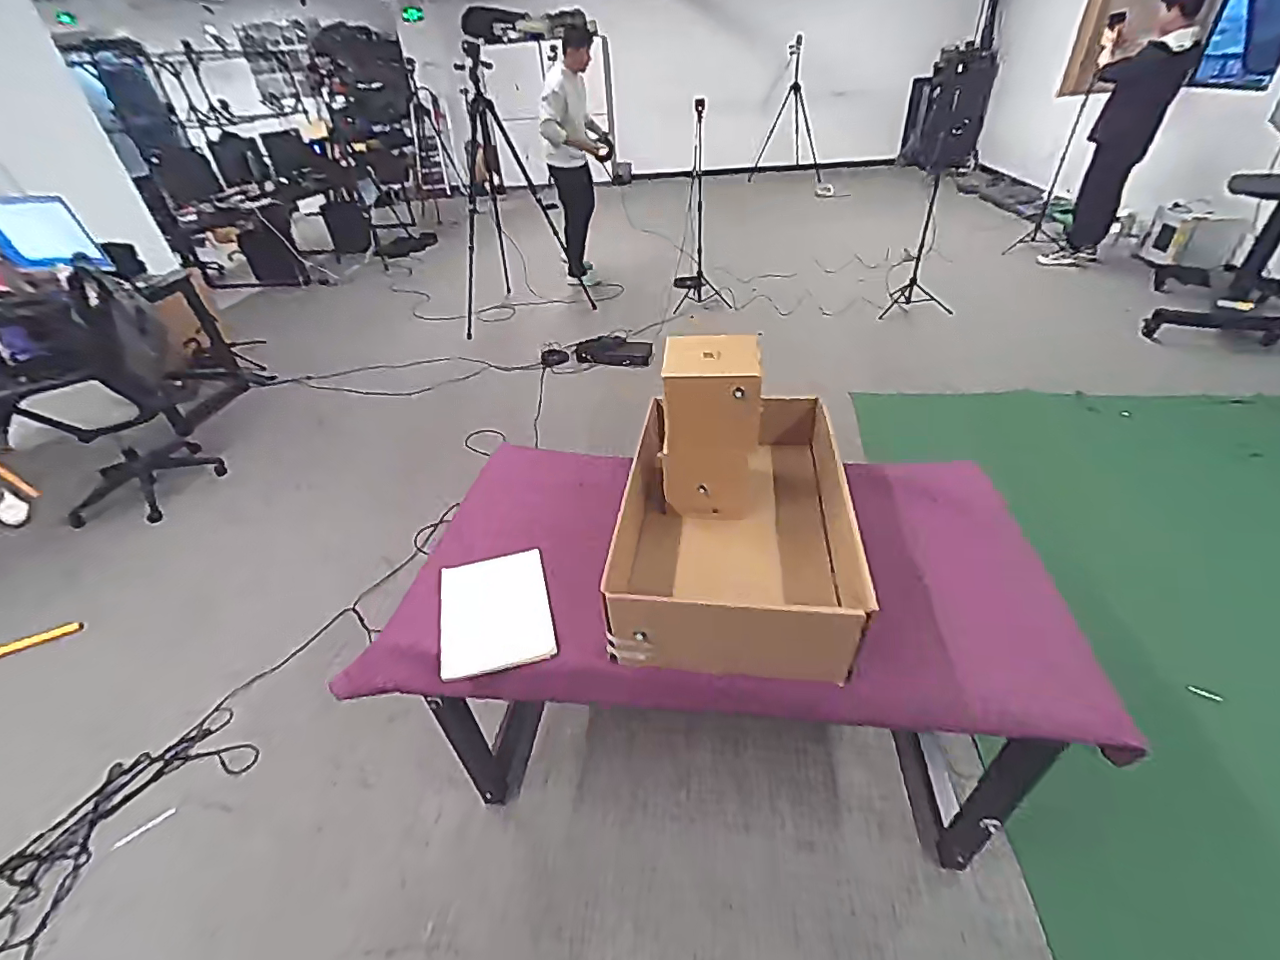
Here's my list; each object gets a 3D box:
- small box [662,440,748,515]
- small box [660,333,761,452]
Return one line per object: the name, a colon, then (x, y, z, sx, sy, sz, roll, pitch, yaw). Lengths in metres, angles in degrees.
small box: (0.142, -0.042, 1.137, 0.168, 0.176, 0.179, 2, 40, 9)
small box: (0.135, -0.166, 1.033, 0.179, 0.176, 0.168, 1, 39, 7)
